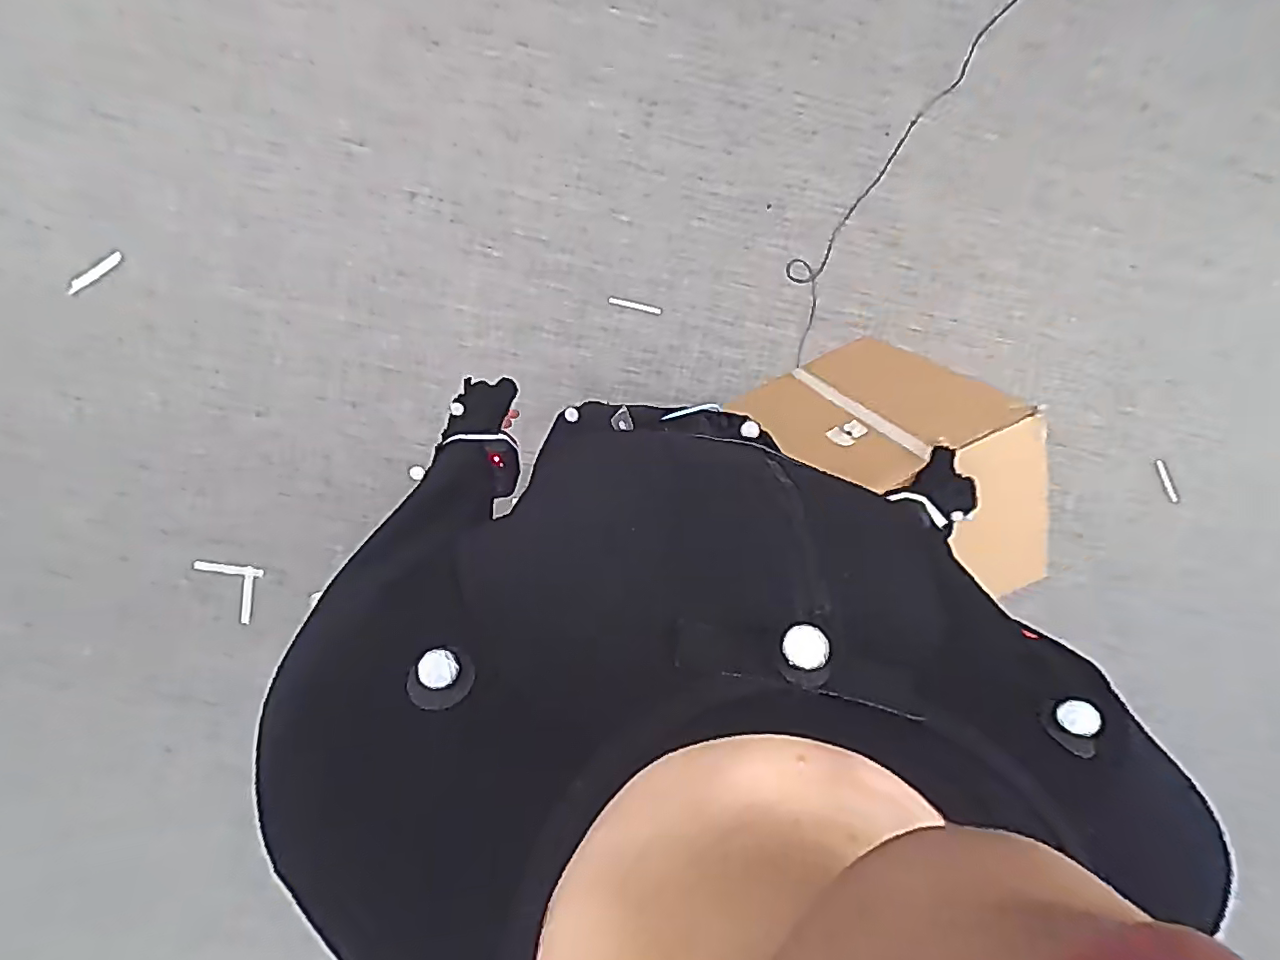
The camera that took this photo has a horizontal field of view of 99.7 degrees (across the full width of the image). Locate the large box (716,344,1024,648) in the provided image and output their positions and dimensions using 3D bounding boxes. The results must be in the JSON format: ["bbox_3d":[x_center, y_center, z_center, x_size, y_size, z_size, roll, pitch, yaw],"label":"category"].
[{"bbox_3d":[0.381,0.006,0.962,0.320,0.408,0.320,-26,122,0],"label":"large box"}]
